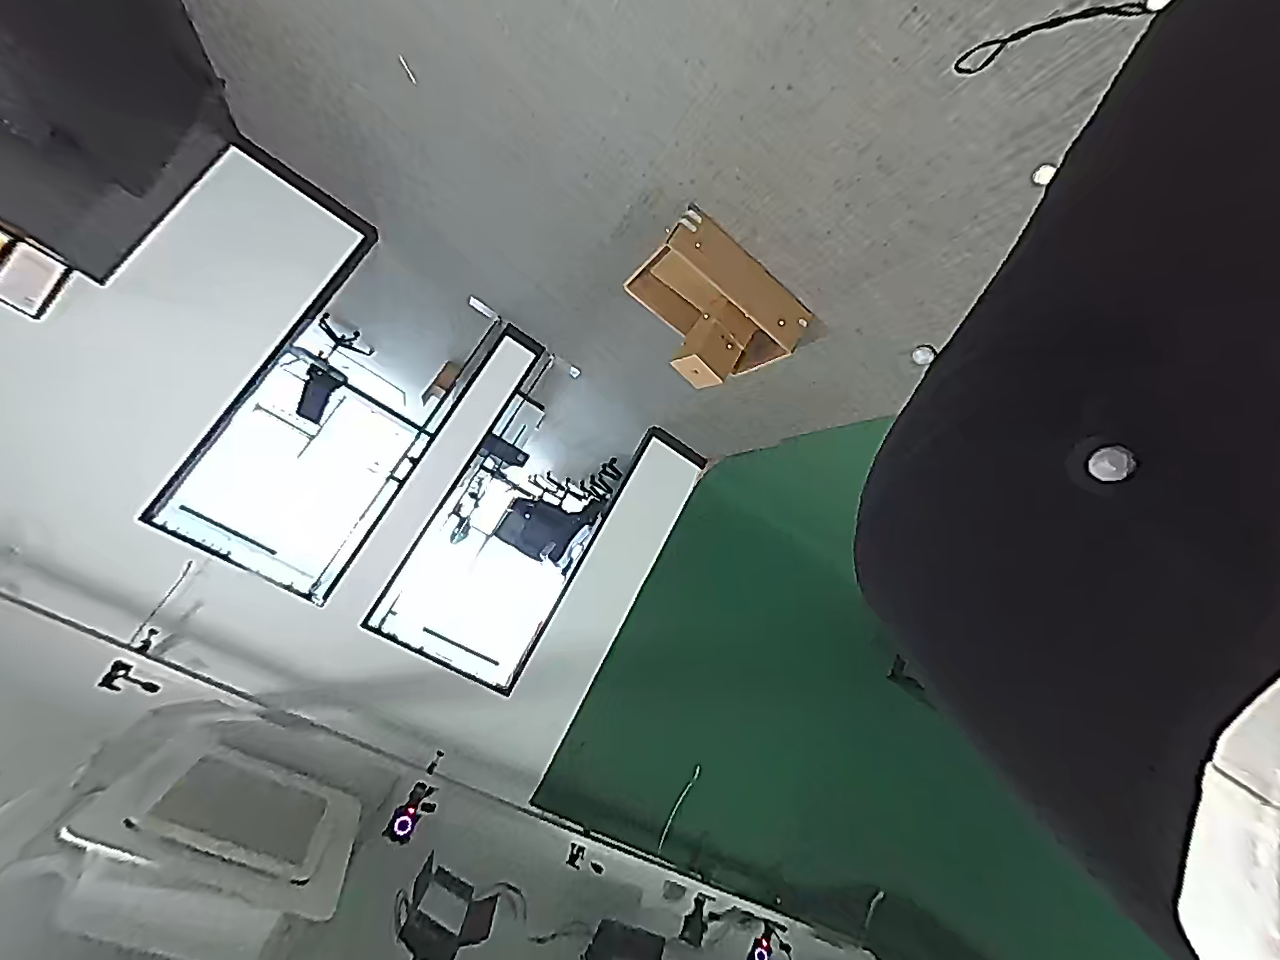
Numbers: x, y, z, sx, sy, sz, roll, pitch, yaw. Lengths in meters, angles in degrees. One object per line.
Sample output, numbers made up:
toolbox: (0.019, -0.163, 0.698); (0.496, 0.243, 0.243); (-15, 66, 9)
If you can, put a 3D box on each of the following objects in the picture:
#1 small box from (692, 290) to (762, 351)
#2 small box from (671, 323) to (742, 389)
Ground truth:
small box: (0.343, -0.608, 2.120); (0.168, 0.176, 0.179); (39, 162, -21)
small box: (0.258, -0.475, 2.080); (0.168, 0.176, 0.179); (39, 162, -25)
